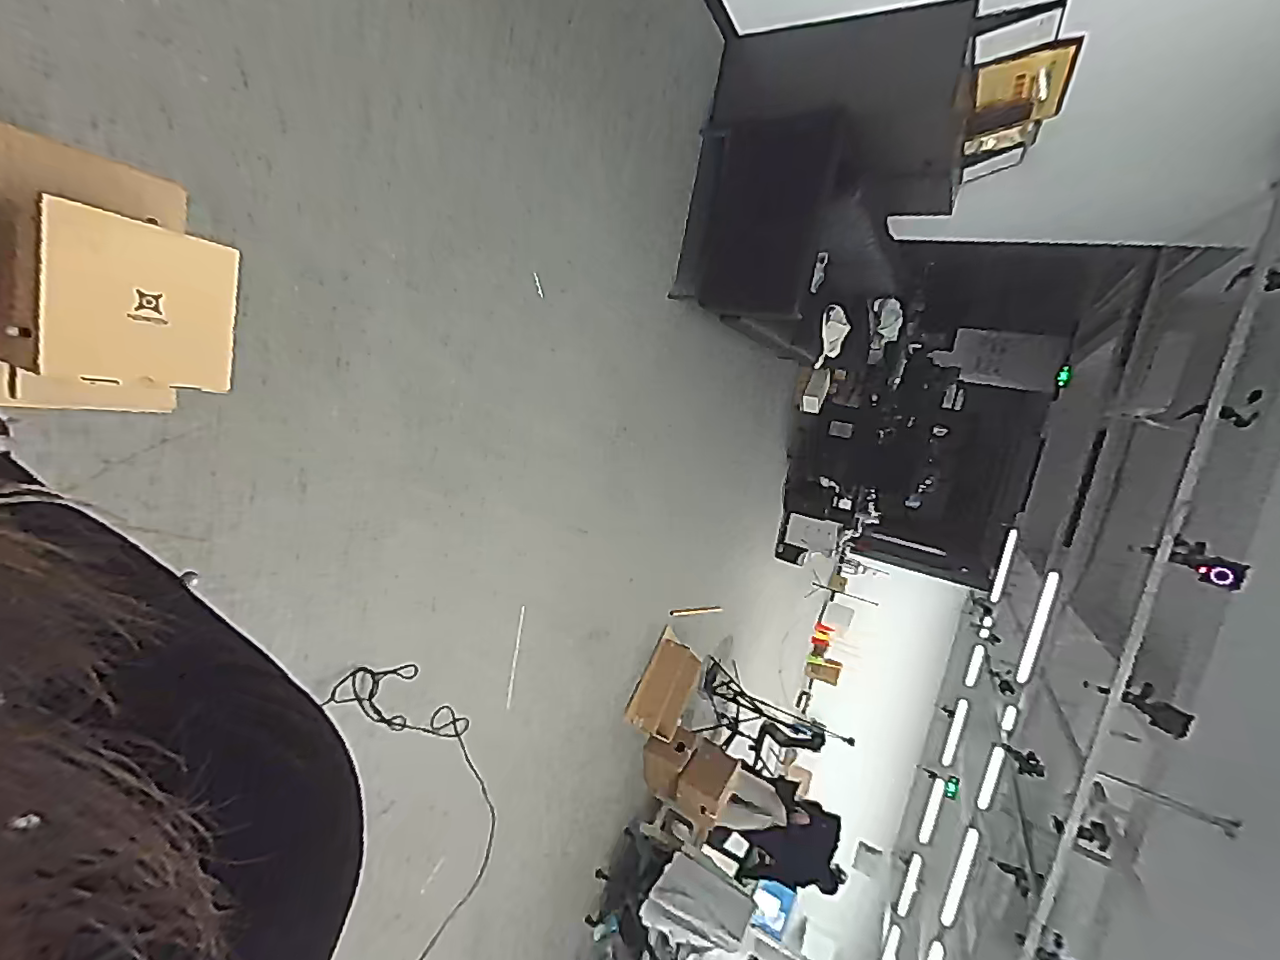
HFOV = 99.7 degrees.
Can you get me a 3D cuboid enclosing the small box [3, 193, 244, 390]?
[{"bbox_3d":[-0.600,-0.211,0.632,0.168,0.176,0.179,-5,108,-59],"label":"small box"}]
